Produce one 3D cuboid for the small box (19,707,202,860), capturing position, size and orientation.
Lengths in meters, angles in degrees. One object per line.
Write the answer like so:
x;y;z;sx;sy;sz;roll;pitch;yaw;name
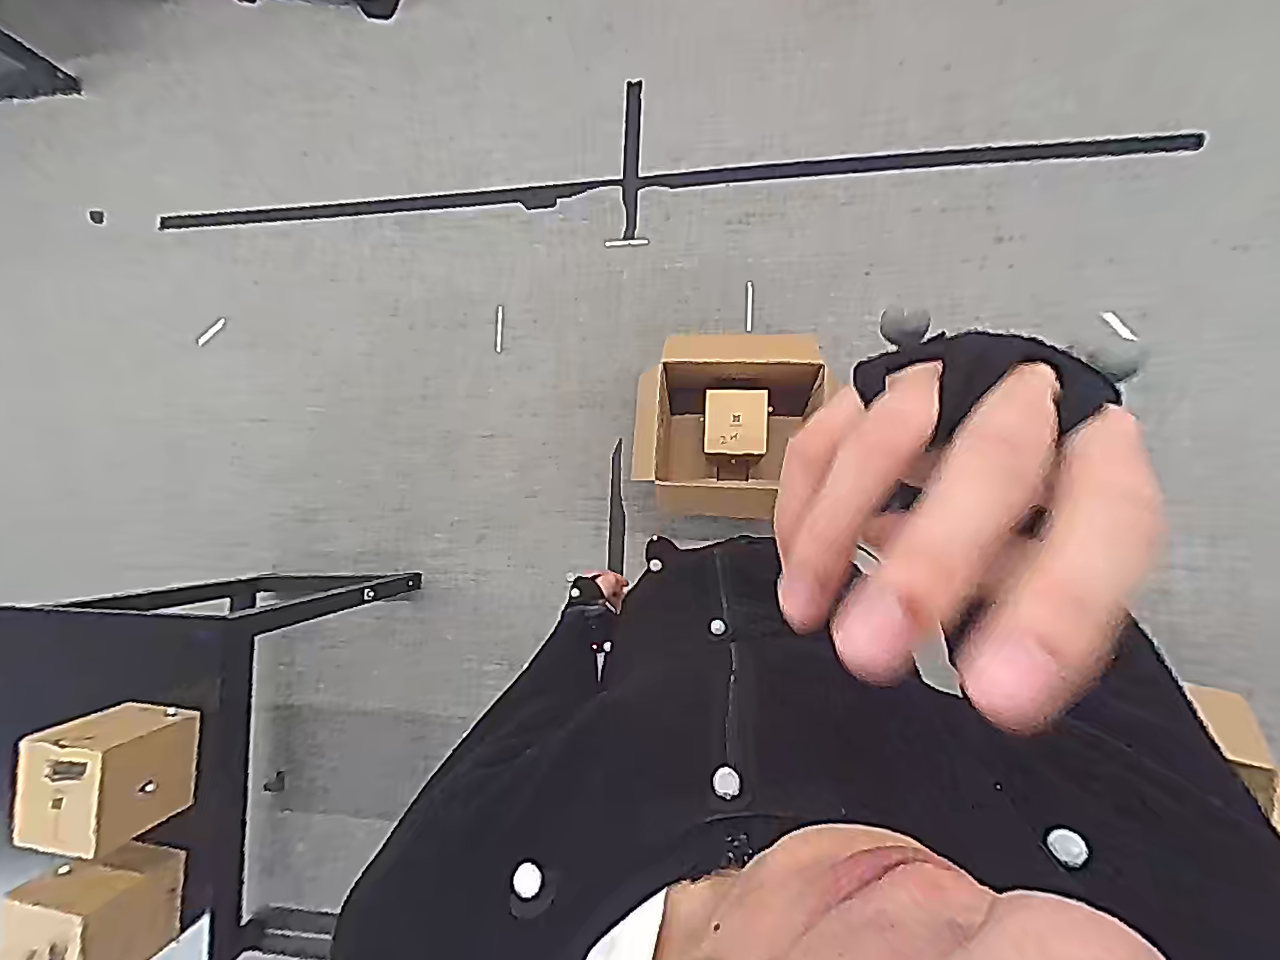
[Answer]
-0.927;0.524;0.962;0.168;0.176;0.179;2;89;10;small box
